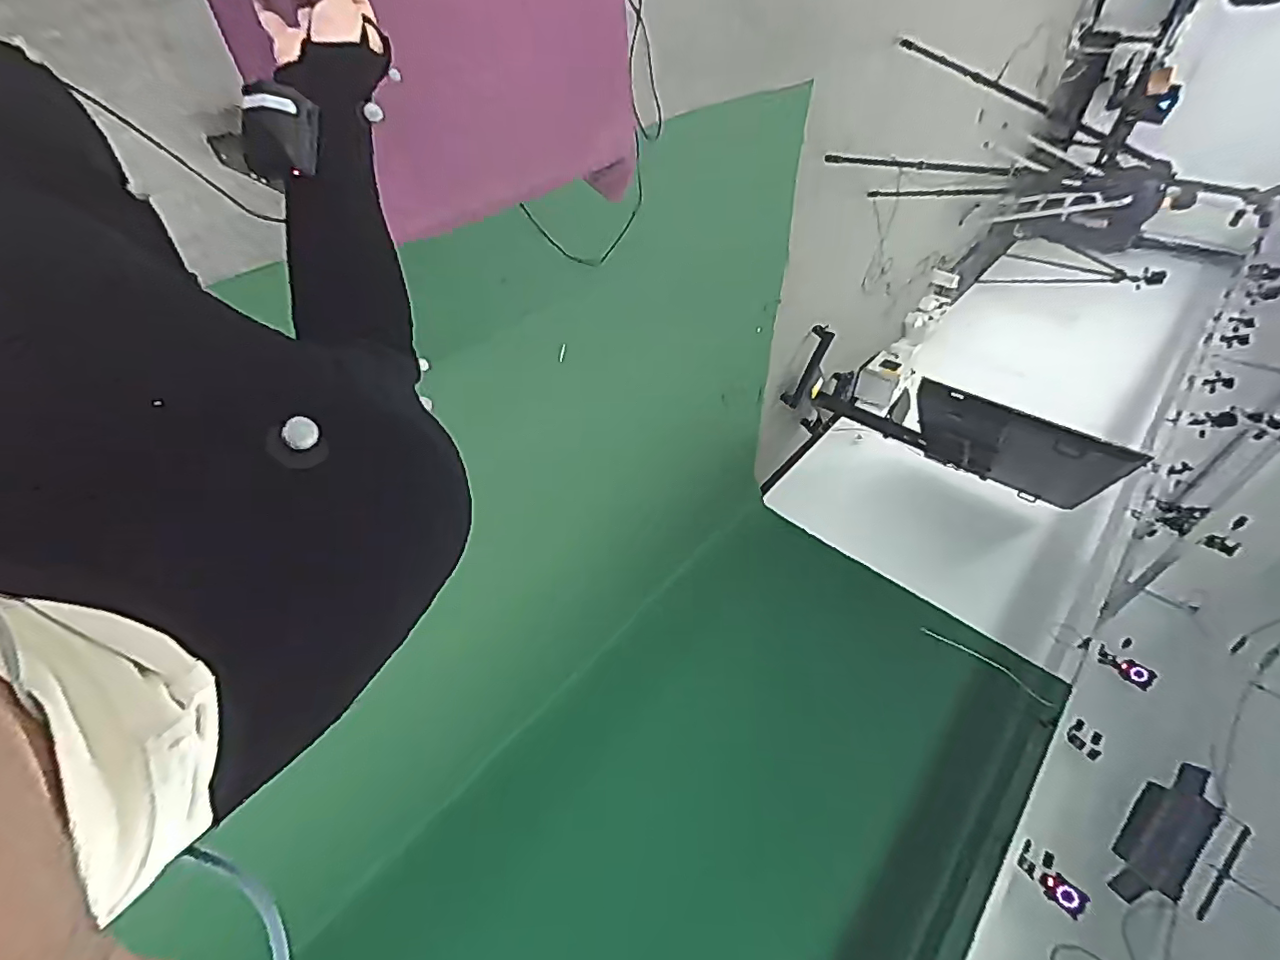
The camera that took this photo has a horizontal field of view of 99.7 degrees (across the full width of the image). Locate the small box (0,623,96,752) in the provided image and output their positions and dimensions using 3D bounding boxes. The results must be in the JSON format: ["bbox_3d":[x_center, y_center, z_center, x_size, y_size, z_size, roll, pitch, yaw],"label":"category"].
[{"bbox_3d":[-1.355,0.440,1.171,0.168,0.176,0.179,-37,143,-30],"label":"small box"}]
